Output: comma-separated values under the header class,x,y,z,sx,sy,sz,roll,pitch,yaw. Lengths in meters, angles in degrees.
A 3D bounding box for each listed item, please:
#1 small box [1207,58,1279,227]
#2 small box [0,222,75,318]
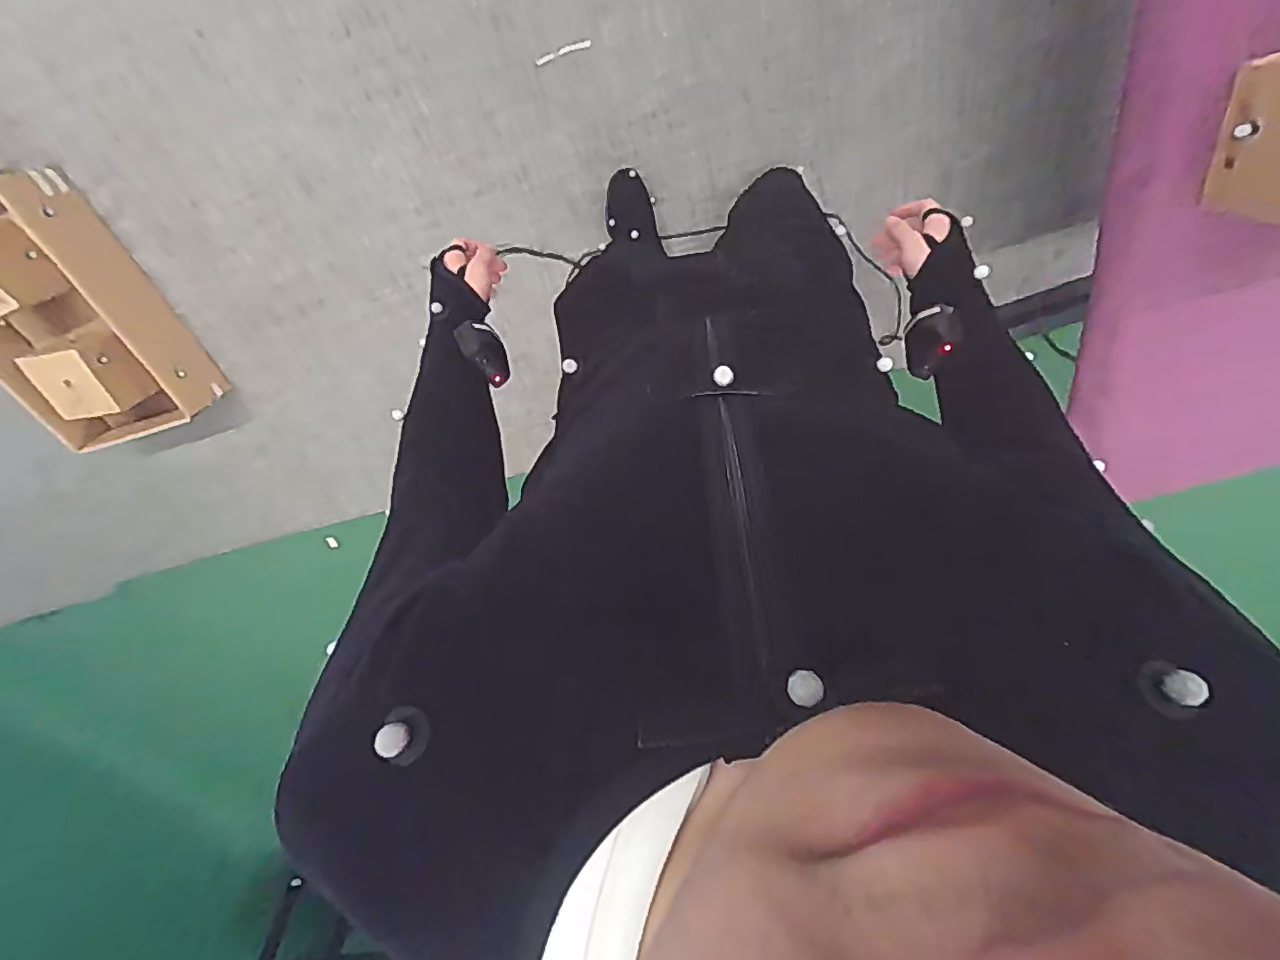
class,x,y,z,sx,sy,sz,roll,pitch,yaw
small box,0.810,-0.389,0.593,0.179,0.176,0.168,-14,124,7
small box,-1.539,-0.493,1.282,0.168,0.176,0.179,-18,124,10
